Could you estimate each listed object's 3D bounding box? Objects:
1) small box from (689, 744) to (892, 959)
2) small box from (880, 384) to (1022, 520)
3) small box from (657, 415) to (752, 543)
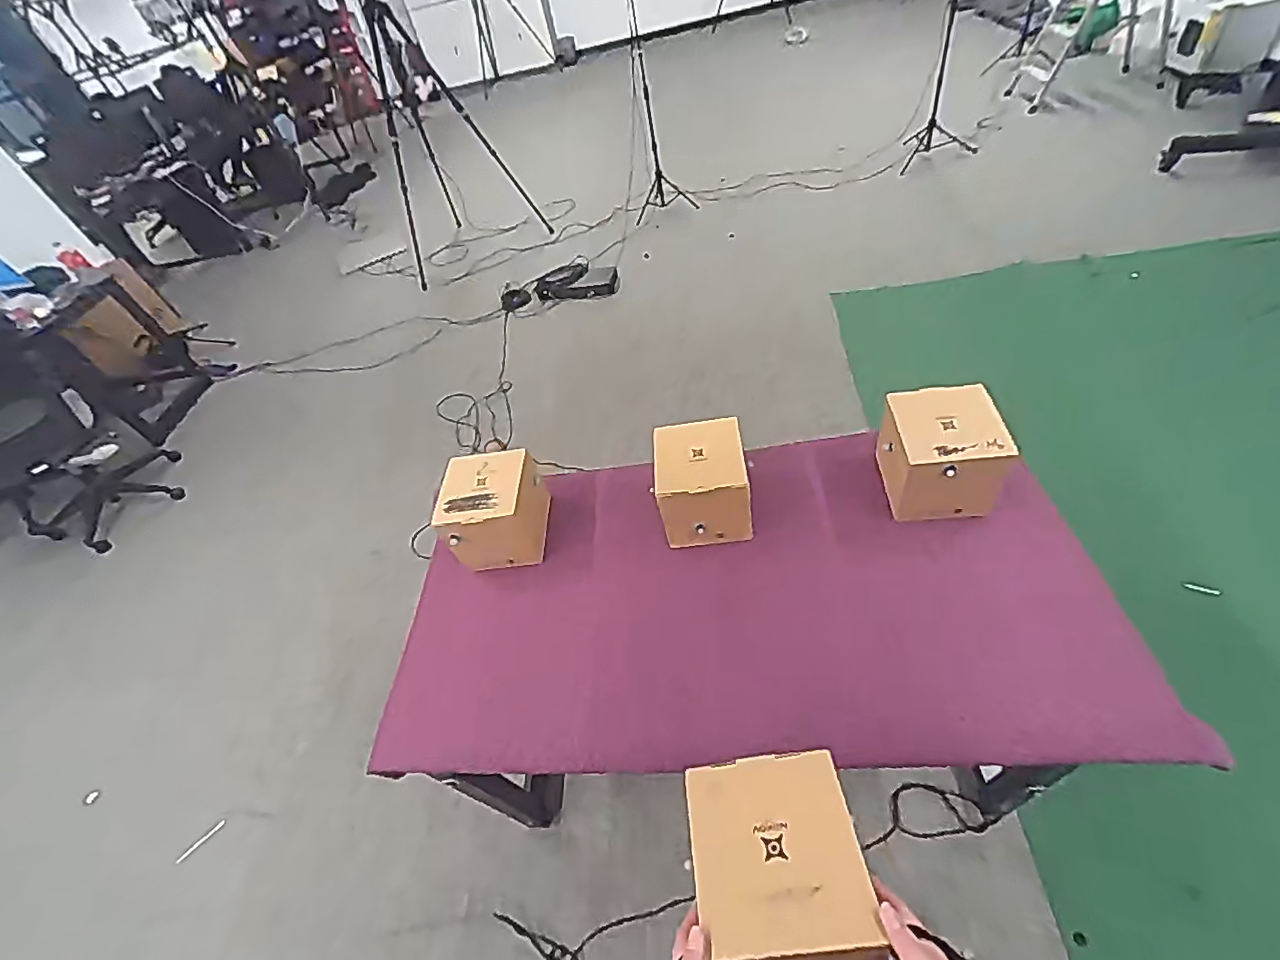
[{"bbox_3d":[0.149,0.419,0.580,0.168,0.176,0.179,-10,34,6],"label":"small box"},{"bbox_3d":[0.546,-0.048,0.982,0.168,0.176,0.179,-5,49,12],"label":"small box"},{"bbox_3d":[0.124,0.001,1.048,0.168,0.176,0.179,-7,49,8],"label":"small box"}]
